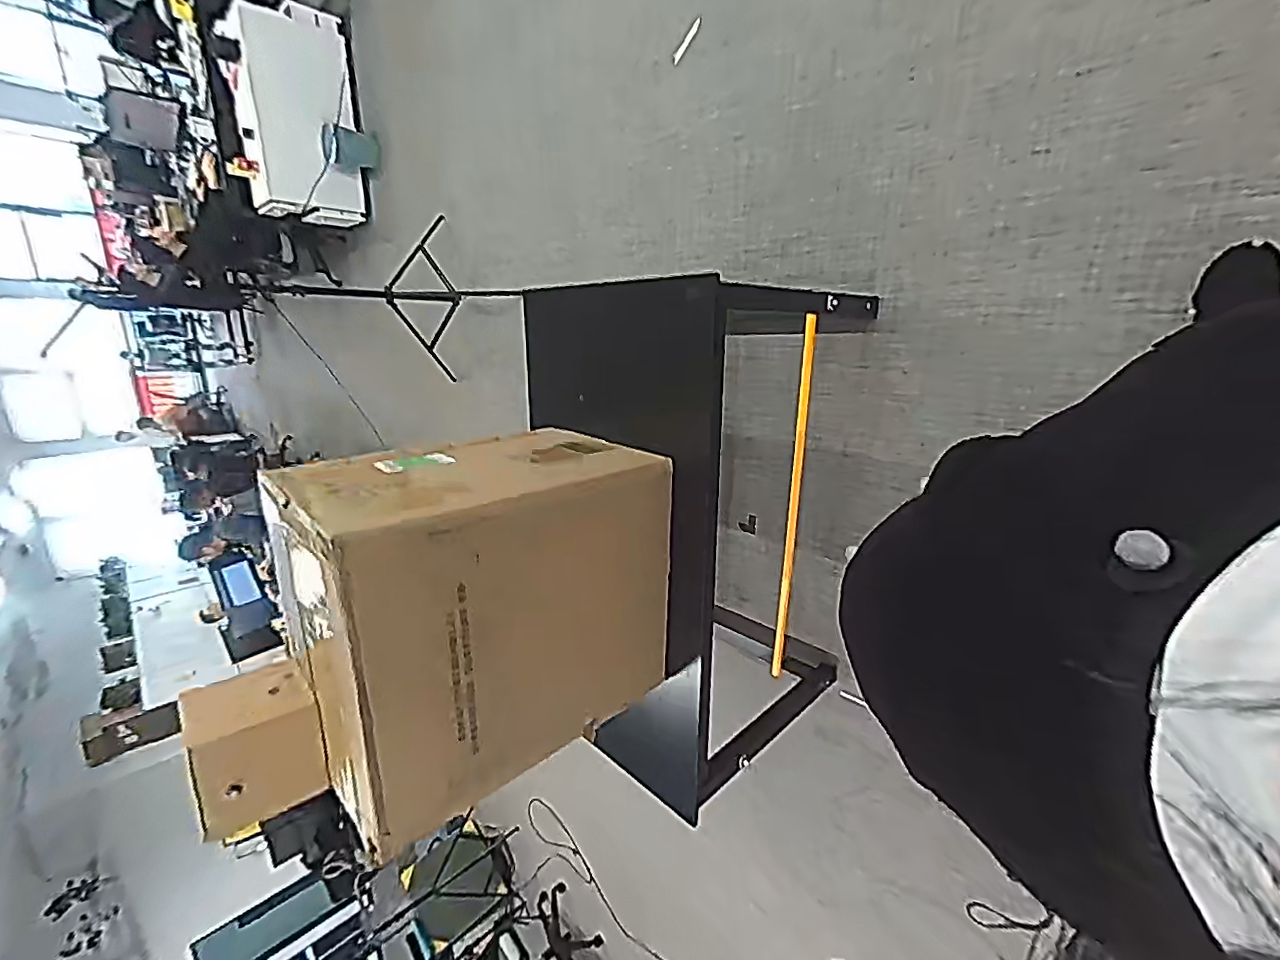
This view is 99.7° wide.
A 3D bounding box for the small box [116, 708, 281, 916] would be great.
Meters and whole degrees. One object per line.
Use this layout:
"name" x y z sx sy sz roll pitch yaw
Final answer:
"small box" -0.673 0.495 0.835 0.168 0.176 0.179 18 112 45
